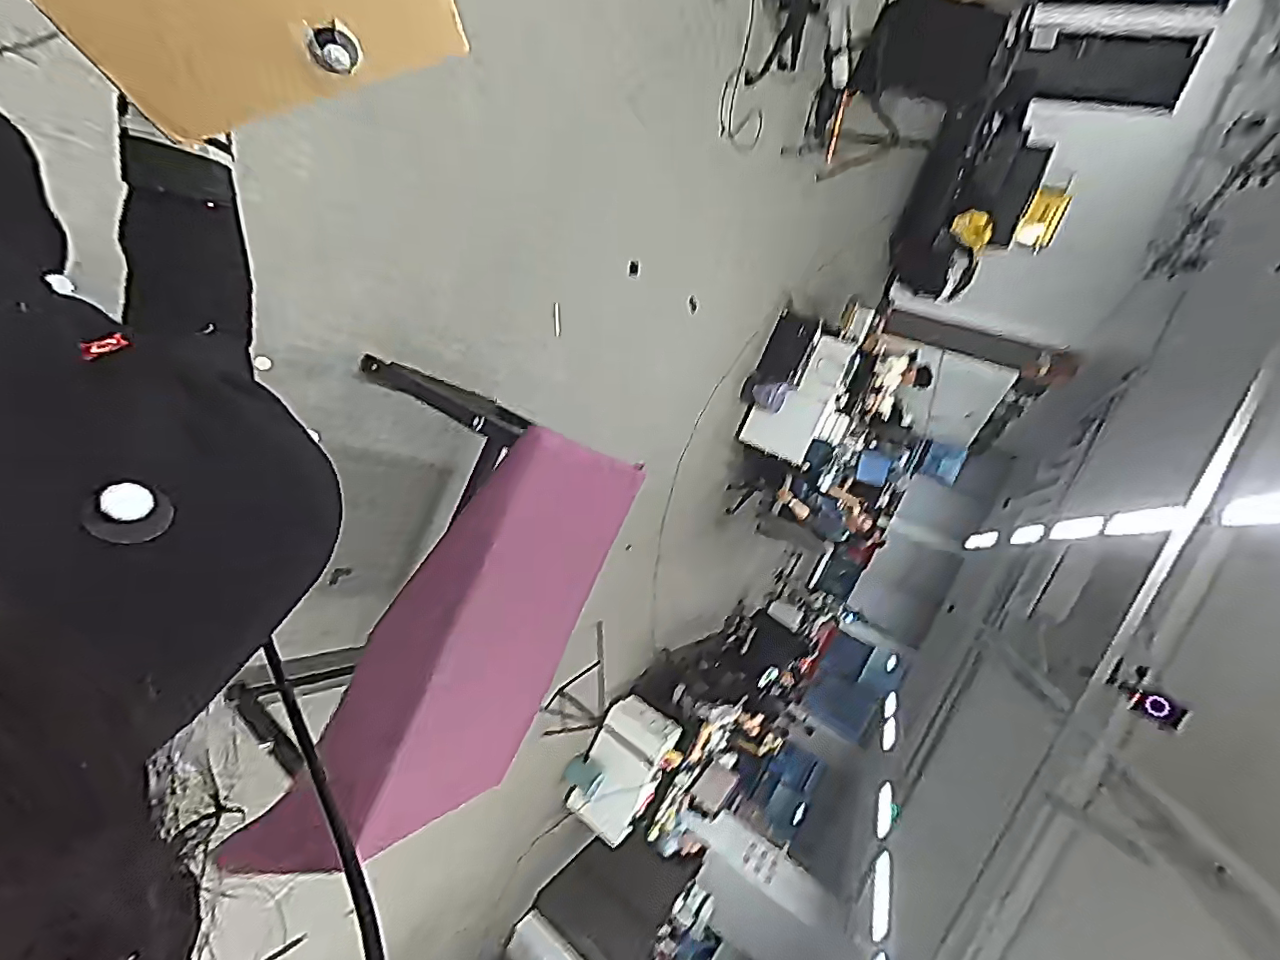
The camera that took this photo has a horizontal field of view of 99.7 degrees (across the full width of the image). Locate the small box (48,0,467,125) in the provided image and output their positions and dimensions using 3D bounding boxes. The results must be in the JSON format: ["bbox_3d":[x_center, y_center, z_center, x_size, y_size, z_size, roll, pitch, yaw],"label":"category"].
[{"bbox_3d":[-0.199,-0.308,0.227,0.168,0.179,0.176,-20,164,-2],"label":"small box"}]
